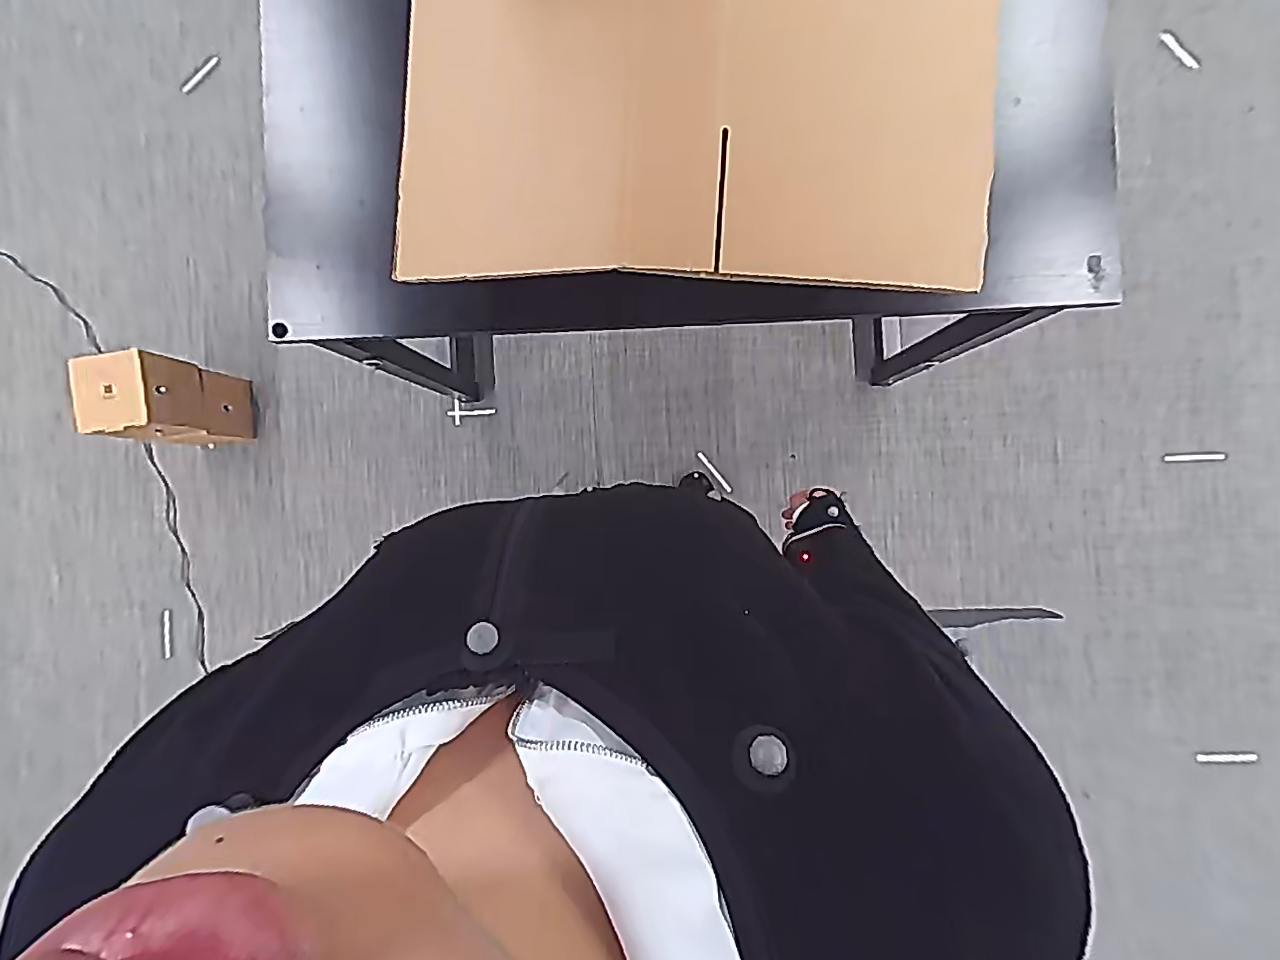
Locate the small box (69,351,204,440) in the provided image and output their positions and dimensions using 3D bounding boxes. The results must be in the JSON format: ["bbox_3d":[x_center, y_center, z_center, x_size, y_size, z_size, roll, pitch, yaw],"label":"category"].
[{"bbox_3d":[-1.196,-0.195,1.298,0.168,0.176,0.179,-9,88,1],"label":"small box"}]

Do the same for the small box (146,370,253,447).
[{"bbox_3d":[-1.189,-0.187,1.460,0.168,0.176,0.179,-6,90,2],"label":"small box"}]
